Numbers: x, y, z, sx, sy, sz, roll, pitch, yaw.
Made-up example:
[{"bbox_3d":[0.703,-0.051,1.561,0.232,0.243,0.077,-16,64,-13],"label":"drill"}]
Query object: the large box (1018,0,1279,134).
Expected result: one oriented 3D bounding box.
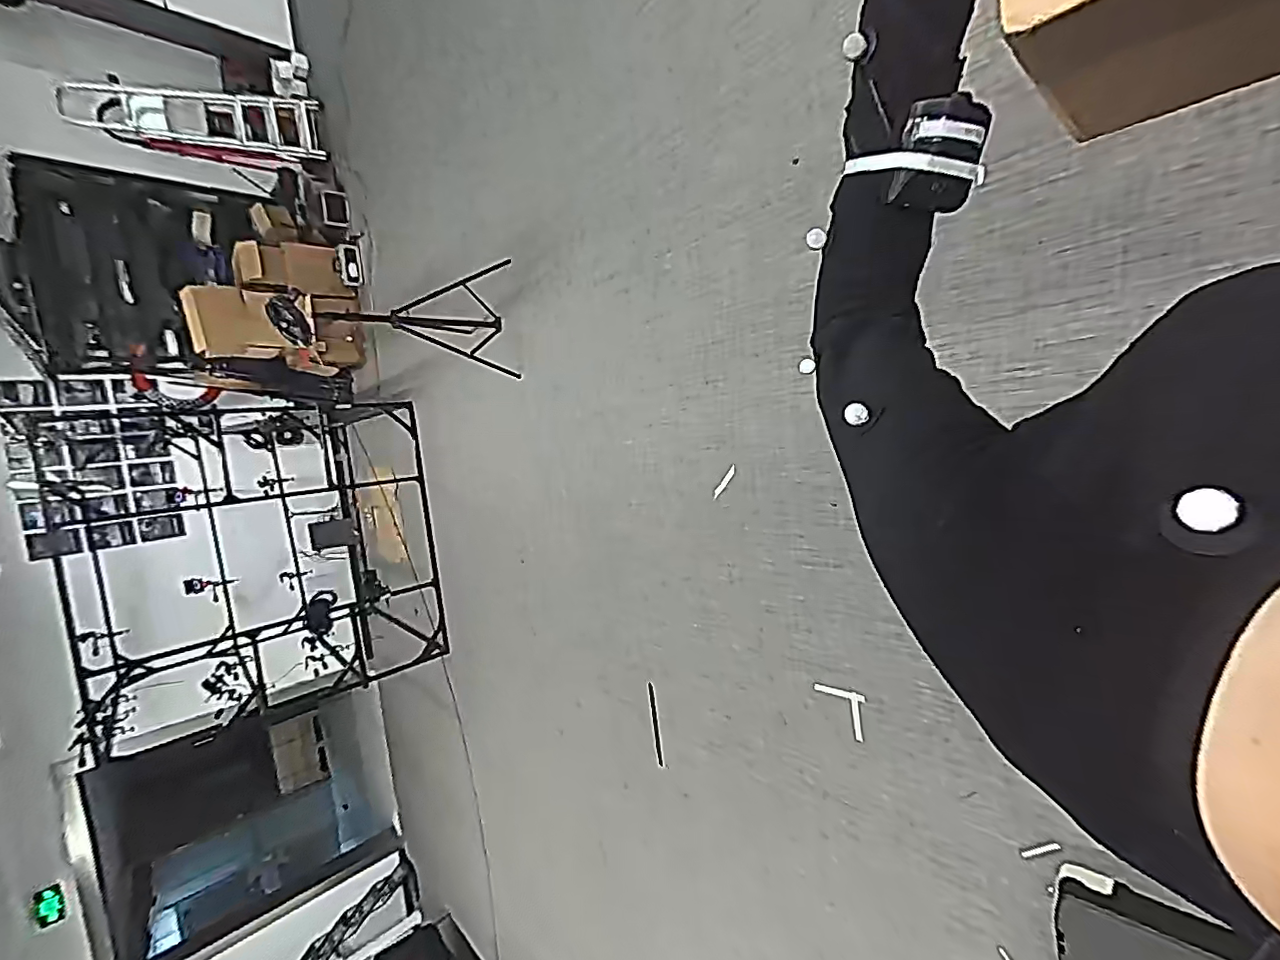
[{"bbox_3d":[0.454,-0.467,0.284,0.408,0.320,0.320,-1,102,45],"label":"large box"}]
